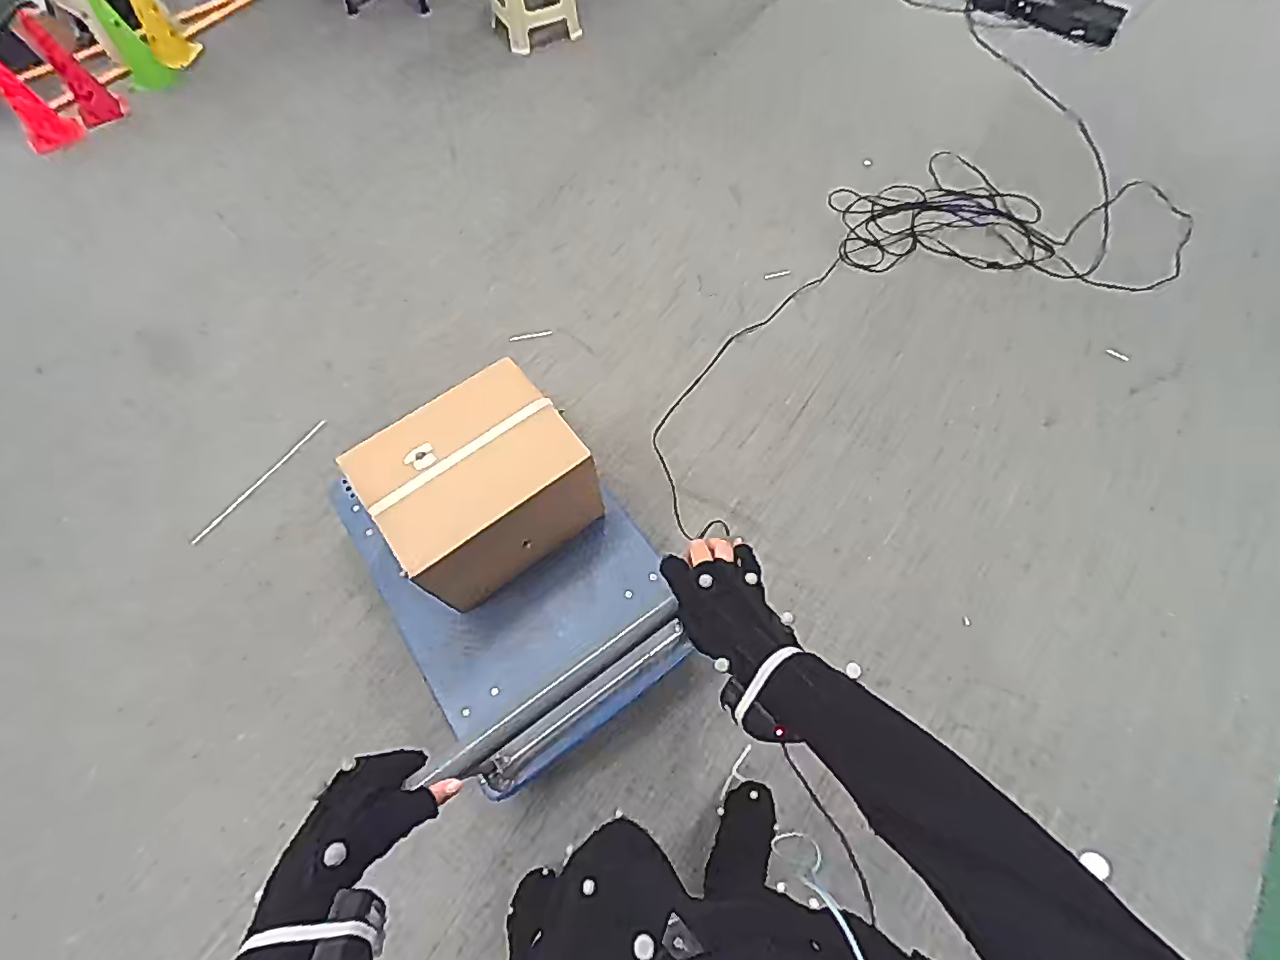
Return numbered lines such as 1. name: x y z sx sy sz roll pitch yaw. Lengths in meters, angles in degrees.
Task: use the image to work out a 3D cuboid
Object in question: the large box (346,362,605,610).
1. large box: -0.334 0.024 1.205 0.408 0.320 0.320 -36 68 -13
